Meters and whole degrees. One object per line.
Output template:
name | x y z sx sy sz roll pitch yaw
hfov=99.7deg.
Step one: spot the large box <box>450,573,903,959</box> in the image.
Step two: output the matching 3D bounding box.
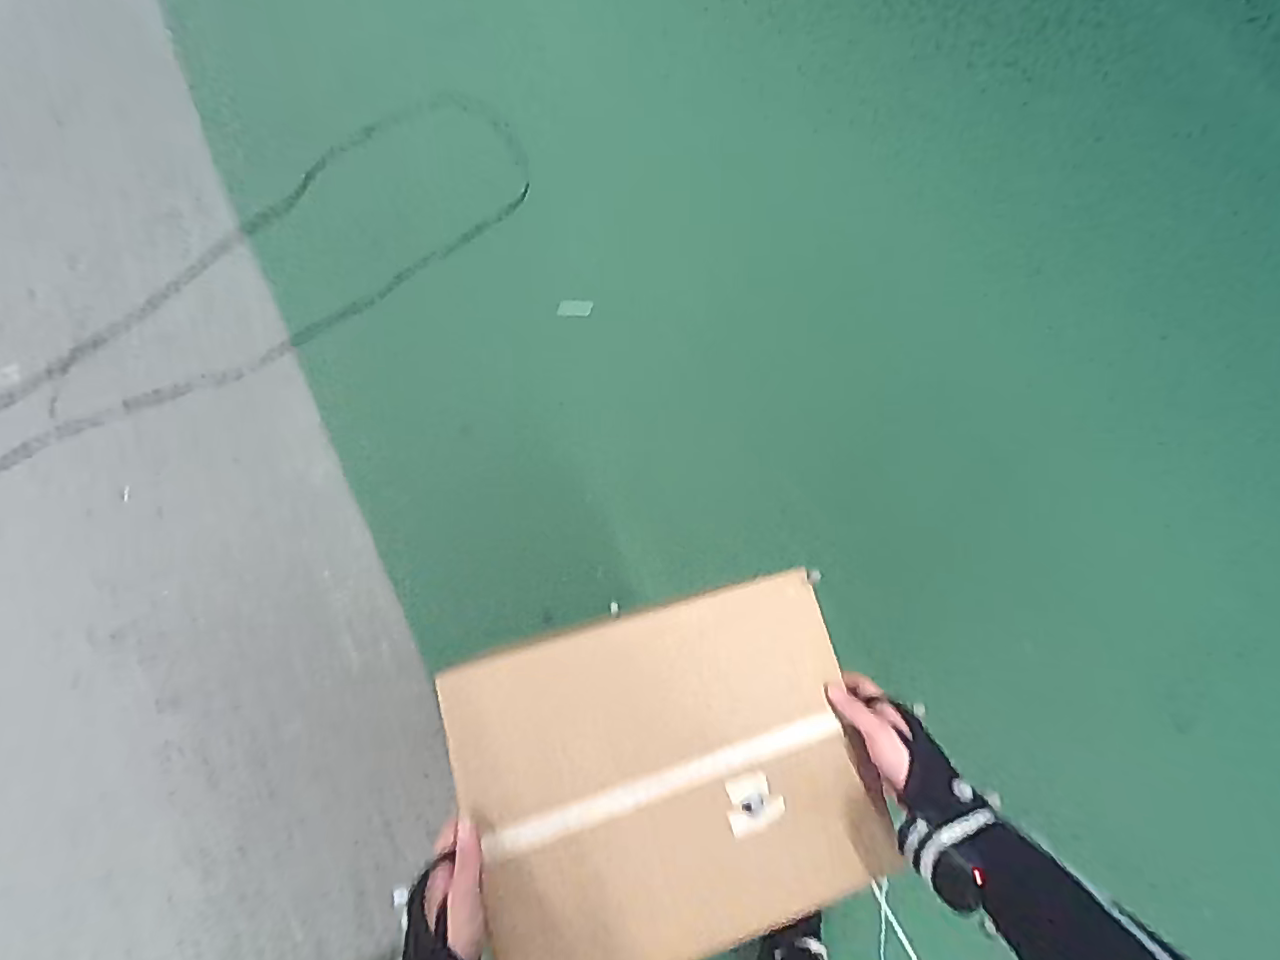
large box | 0.019 0.333 0.682 0.408 0.320 0.320 -13 79 -12
